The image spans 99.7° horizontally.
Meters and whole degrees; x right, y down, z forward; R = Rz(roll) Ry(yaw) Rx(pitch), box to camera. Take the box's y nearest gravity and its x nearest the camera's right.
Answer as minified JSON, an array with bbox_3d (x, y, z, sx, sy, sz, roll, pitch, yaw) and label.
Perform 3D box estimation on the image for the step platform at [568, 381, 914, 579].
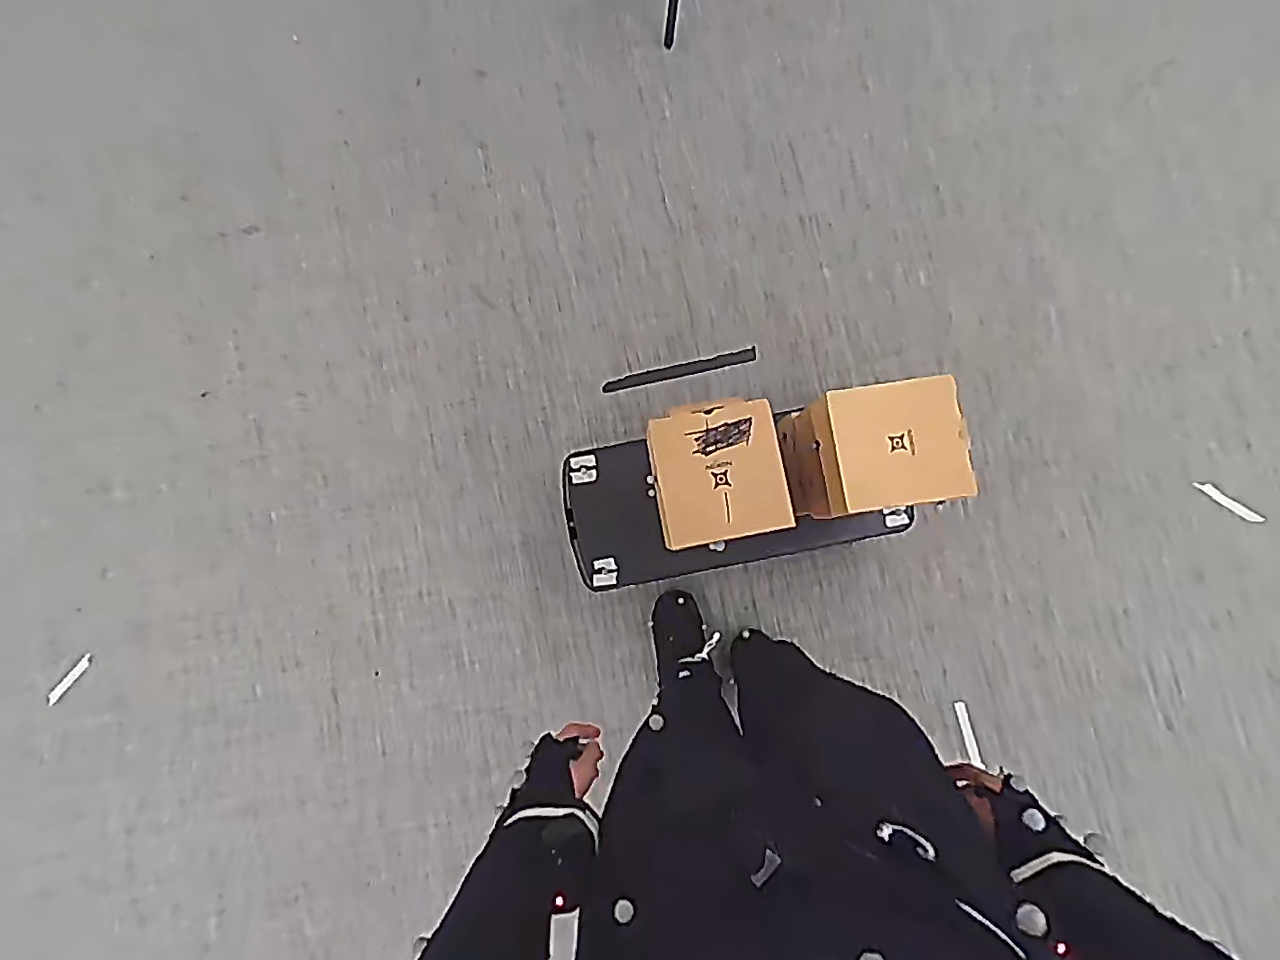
[{"bbox_3d":[0.195,0.005,1.124,0.684,0.204,0.286,-12,83,0],"label":"step platform"}]

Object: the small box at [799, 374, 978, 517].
[{"bbox_3d":[0.343,-0.040,0.788,0.179,0.176,0.168,-9,84,0],"label":"small box"}]

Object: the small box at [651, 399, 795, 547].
[{"bbox_3d":[0.108,-0.001,0.786,0.168,0.176,0.179,-10,84,1],"label":"small box"}]
